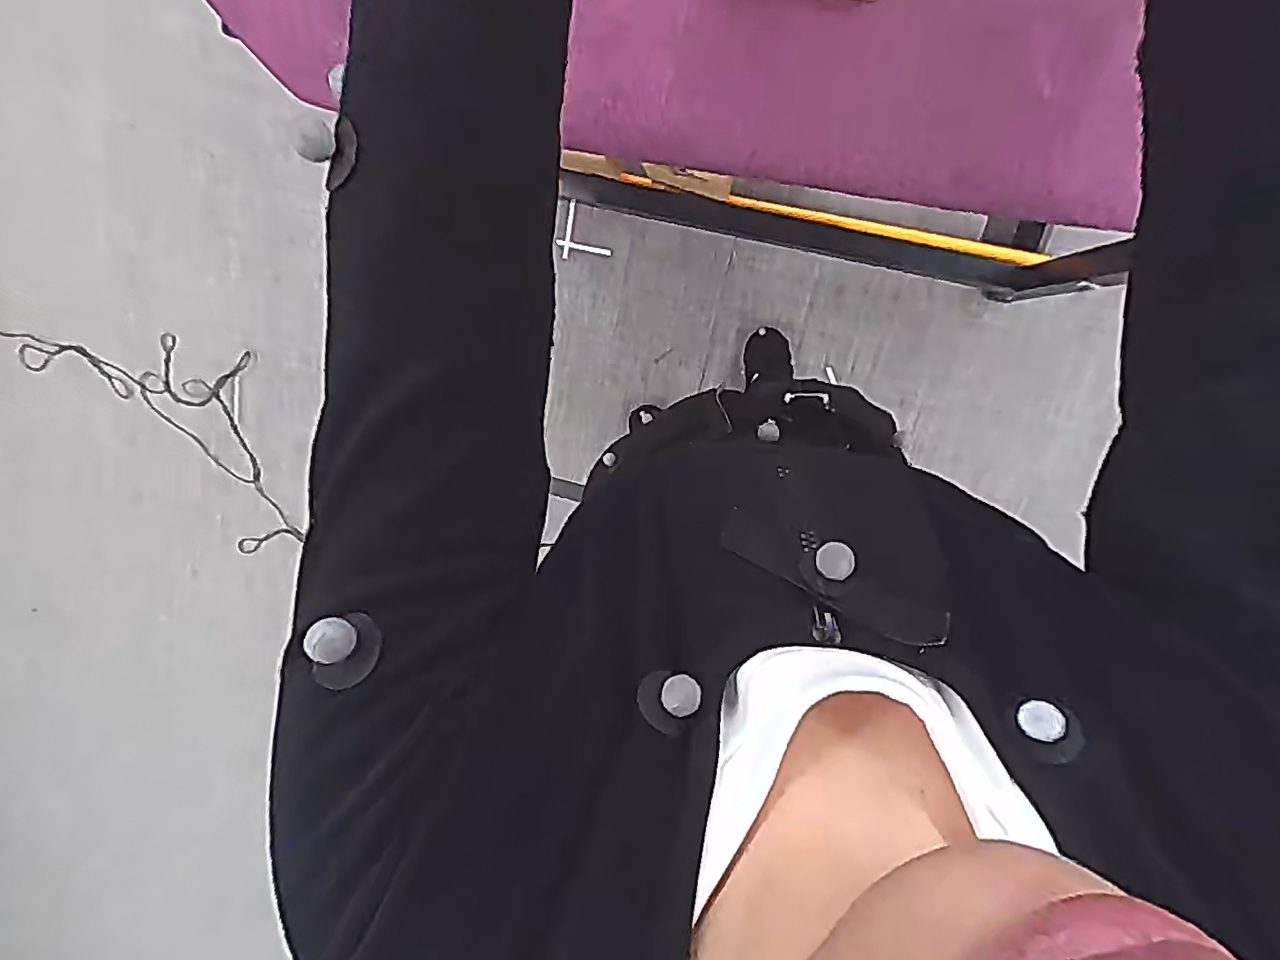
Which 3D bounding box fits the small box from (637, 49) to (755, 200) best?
[{"bbox_3d":[0.108,-0.656,1.023,0.168,0.176,0.179,19,107,3],"label":"small box"}]
